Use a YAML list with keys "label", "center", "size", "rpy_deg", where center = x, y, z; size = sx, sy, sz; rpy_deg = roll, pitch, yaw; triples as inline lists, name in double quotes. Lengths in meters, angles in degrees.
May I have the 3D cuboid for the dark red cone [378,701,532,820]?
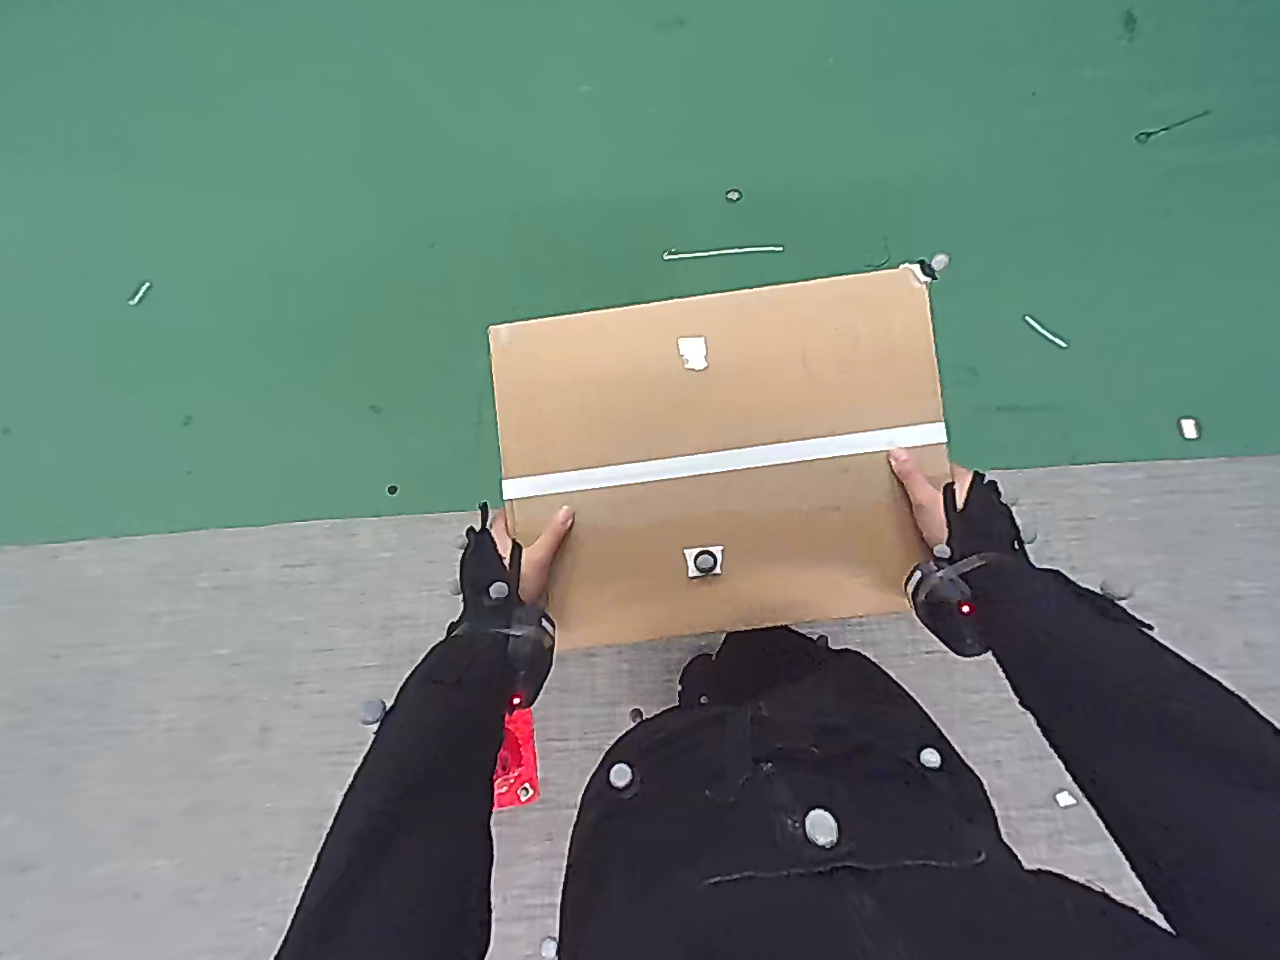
- label: "dark red cone"
  center: [-0.341, 0.529, 0.967]
  size: [0.202, 0.394, 0.201]
  rpy_deg: [-12, 72, 1]
